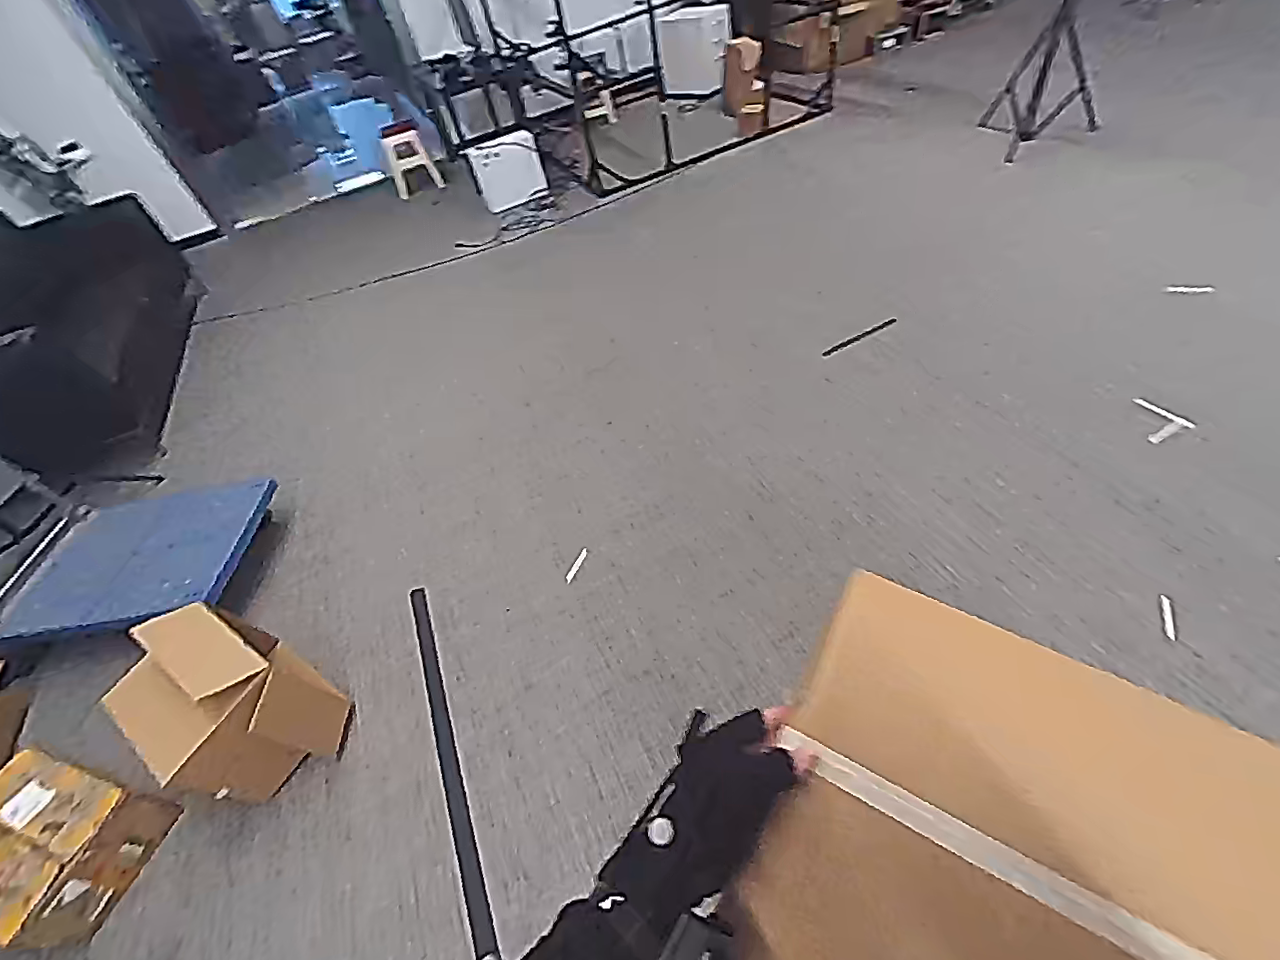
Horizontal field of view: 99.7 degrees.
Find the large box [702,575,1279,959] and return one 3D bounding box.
[{"bbox_3d":[0.308,0.340,0.515,0.408,0.320,0.320,22,72,20],"label":"large box"}]
